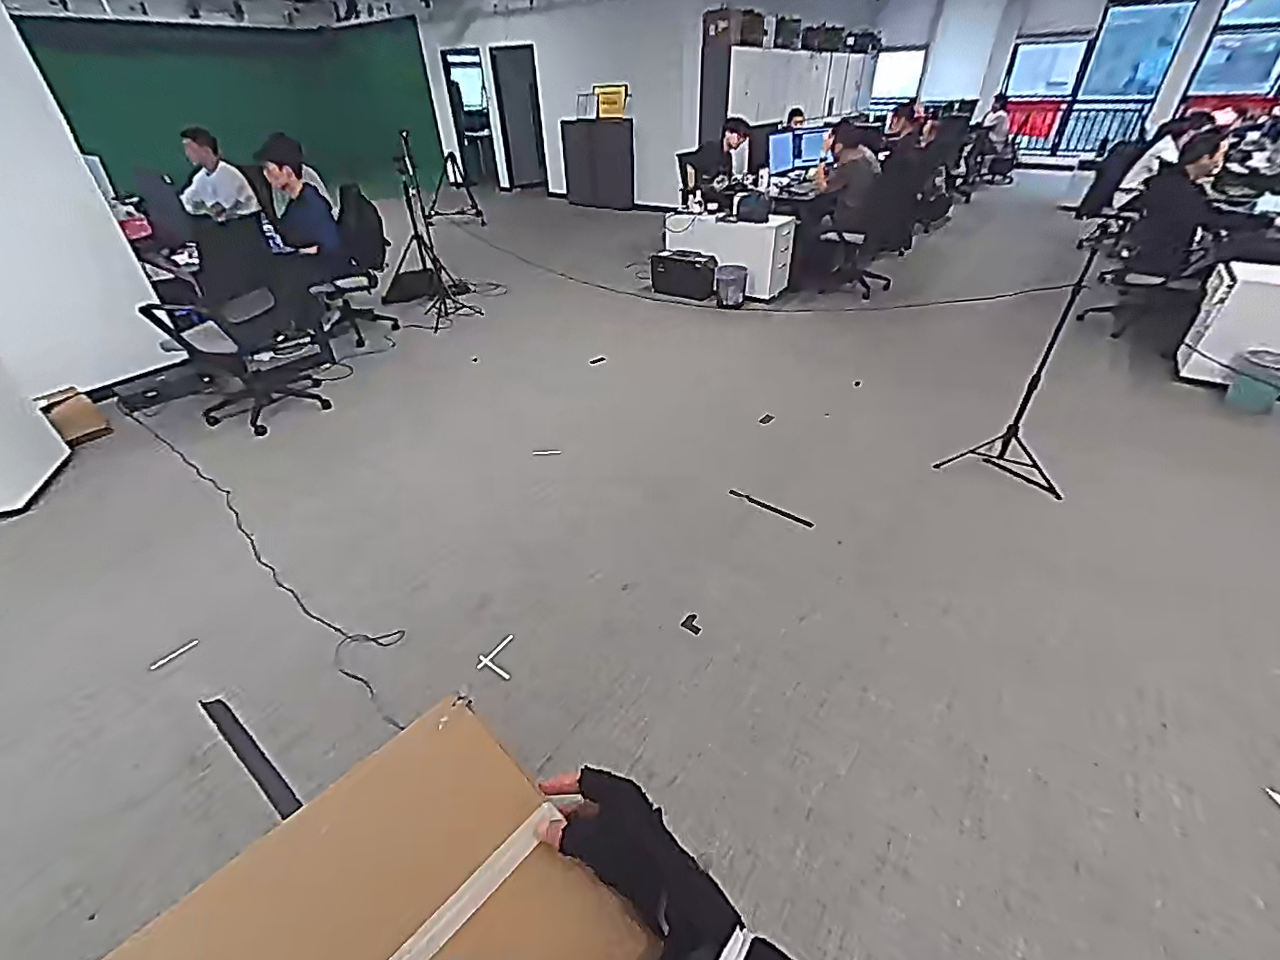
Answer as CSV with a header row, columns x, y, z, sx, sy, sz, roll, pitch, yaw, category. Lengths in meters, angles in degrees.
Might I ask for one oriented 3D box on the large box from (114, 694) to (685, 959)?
x,y,z,sx,sy,sz,roll,pitch,yaw,category
-0.214,0.492,0.464,0.320,0.320,0.408,34,49,30,large box
